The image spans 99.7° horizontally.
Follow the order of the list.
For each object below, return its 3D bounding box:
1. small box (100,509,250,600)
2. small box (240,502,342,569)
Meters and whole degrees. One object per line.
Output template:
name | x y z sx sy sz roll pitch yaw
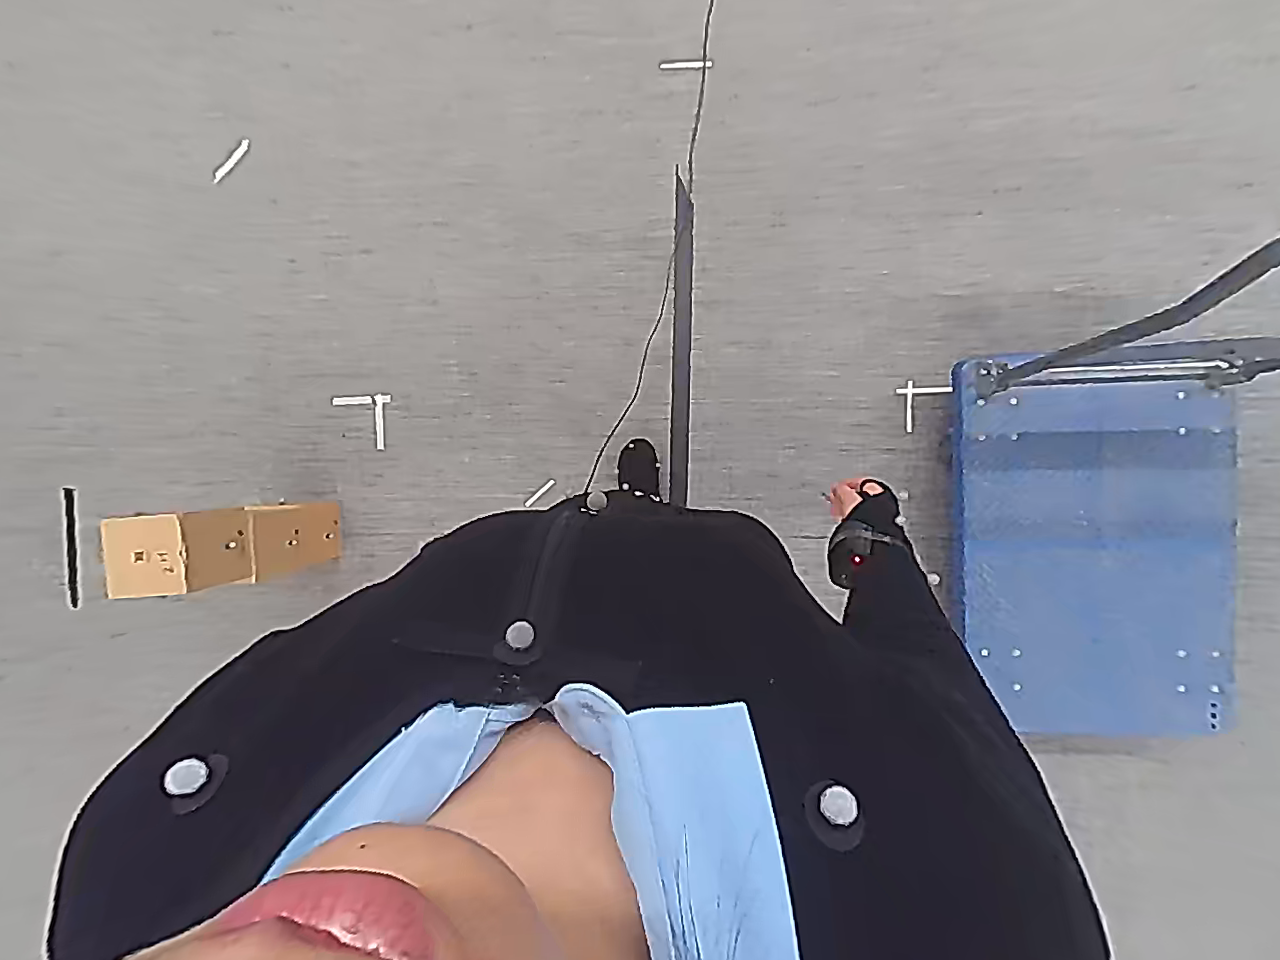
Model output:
small box | -0.986 0.154 1.159 0.179 0.176 0.168 -5 92 3
small box | -0.956 0.150 1.487 0.179 0.176 0.168 -1 91 4
